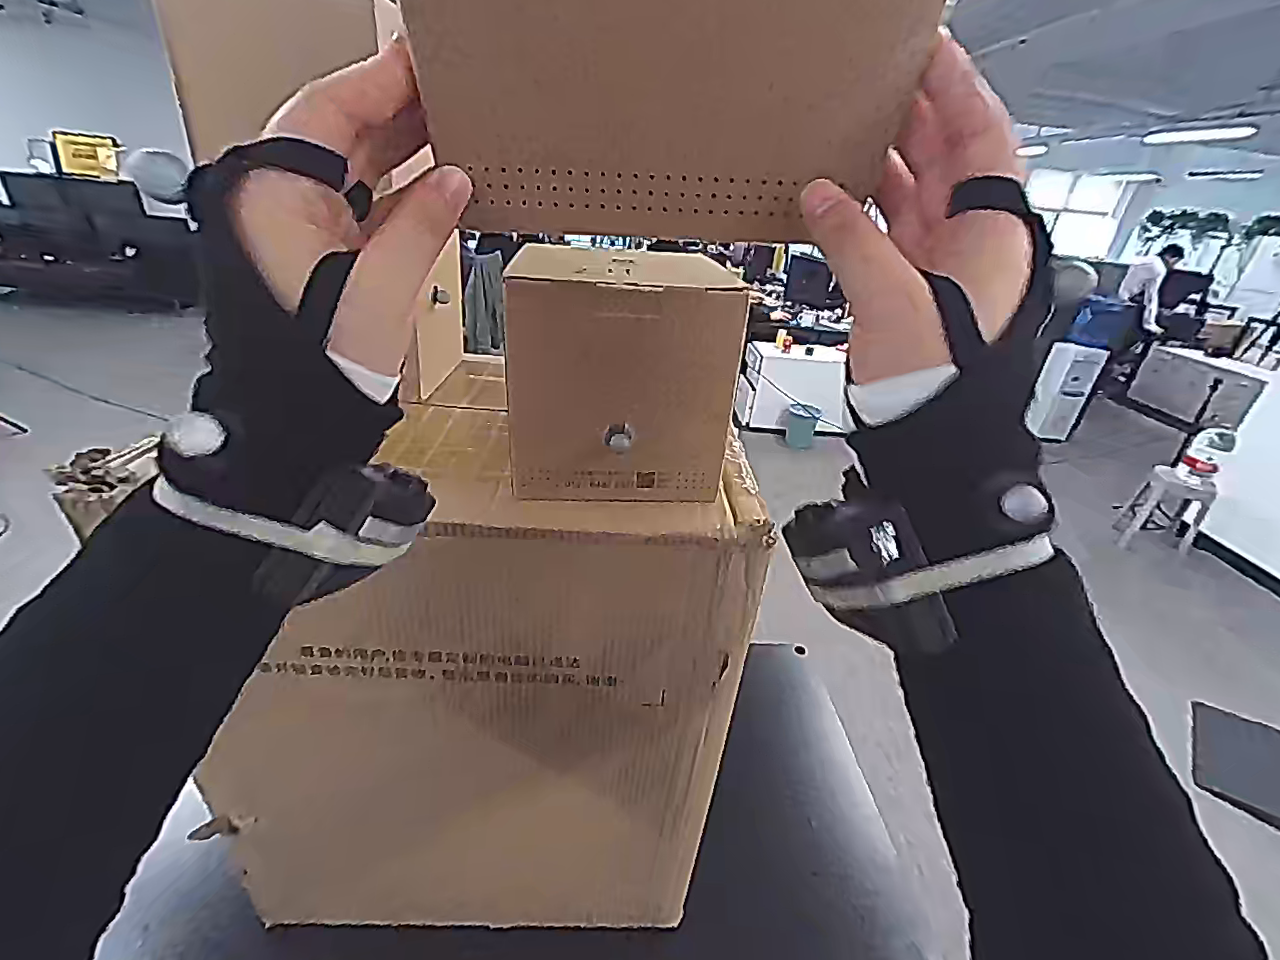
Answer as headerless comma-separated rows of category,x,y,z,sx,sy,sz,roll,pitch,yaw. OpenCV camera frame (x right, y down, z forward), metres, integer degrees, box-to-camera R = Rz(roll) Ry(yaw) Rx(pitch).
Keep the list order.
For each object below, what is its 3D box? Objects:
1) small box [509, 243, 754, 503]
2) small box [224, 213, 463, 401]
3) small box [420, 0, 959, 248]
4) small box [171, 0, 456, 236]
small box,-0.016,-0.097,0.463,0.168,0.176,0.179,1,30,-6
small box,-0.296,-0.195,0.591,0.168,0.176,0.179,5,29,-5
small box,0.016,-0.210,0.204,0.179,0.176,0.168,1,57,-4
small box,-0.276,-0.331,0.500,0.168,0.176,0.179,5,28,-3
